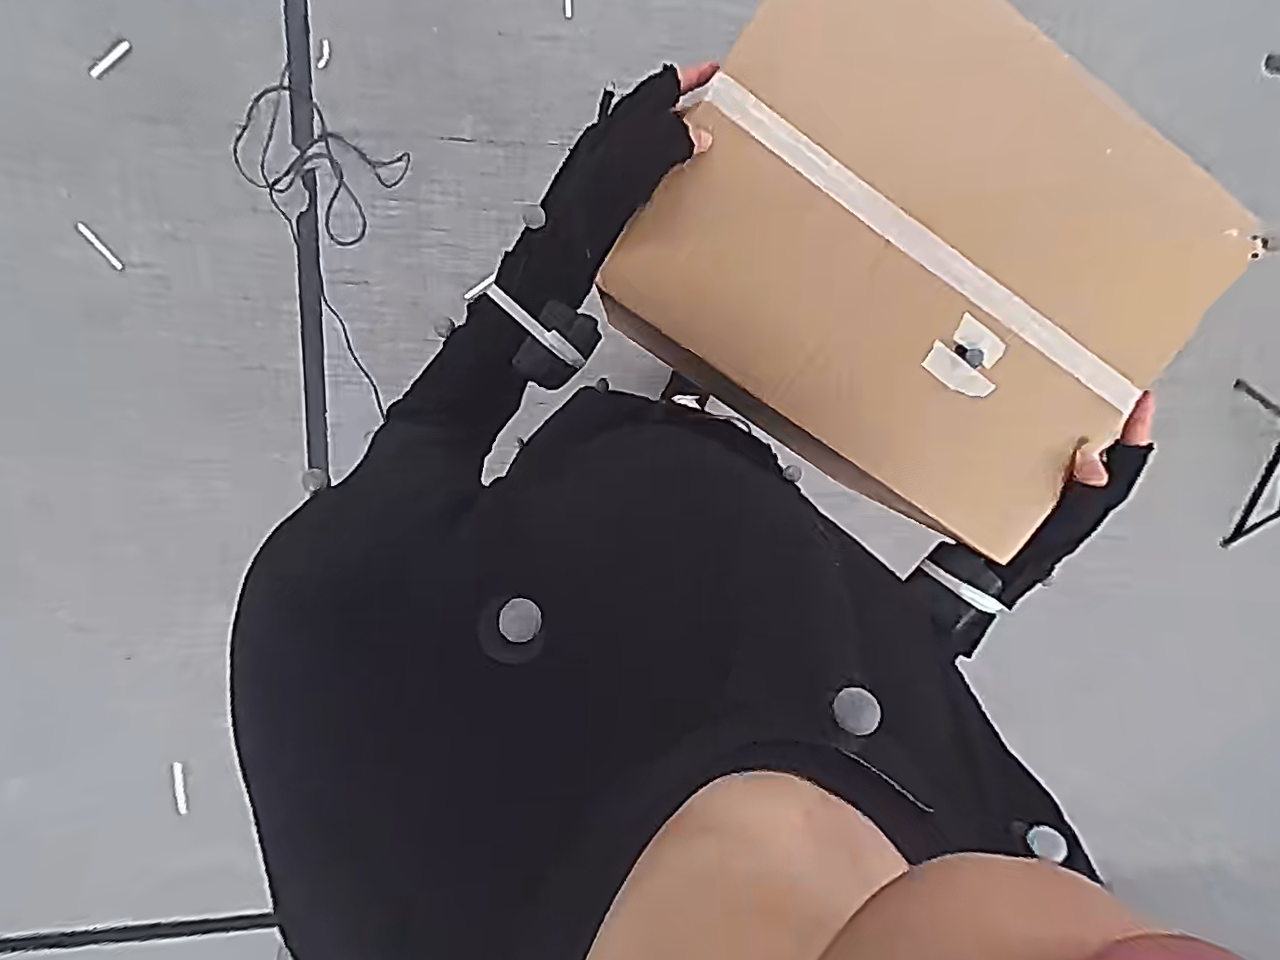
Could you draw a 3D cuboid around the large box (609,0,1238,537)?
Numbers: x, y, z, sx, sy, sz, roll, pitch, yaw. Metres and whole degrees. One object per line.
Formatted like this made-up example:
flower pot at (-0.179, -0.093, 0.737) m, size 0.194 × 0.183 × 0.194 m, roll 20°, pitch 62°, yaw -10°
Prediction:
large box at (0.213, -0.205, 0.560) m, size 0.408 × 0.320 × 0.320 m, roll 33°, pitch 99°, yaw -8°
